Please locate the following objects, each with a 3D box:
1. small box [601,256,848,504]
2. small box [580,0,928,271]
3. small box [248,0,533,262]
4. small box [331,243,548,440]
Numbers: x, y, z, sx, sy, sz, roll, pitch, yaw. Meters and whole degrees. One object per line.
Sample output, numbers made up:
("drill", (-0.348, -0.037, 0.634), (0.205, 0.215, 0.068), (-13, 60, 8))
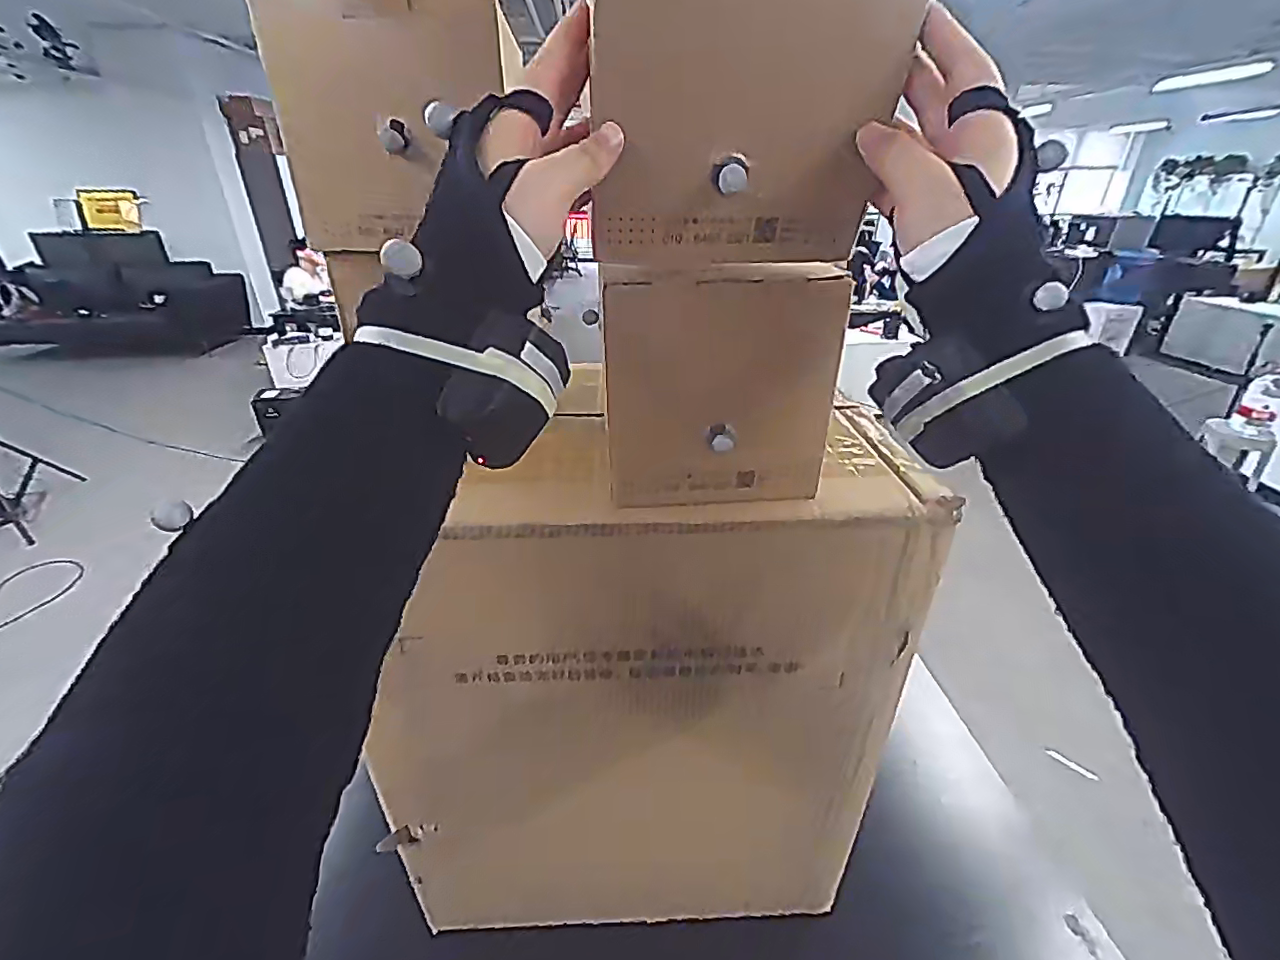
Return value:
("small box", (0.051, -0.095, 0.461), (0.168, 0.176, 0.179), (-3, 30, -4))
("small box", (0.046, -0.250, 0.346), (0.168, 0.176, 0.179), (-4, 45, -6))
("small box", (-0.188, -0.289, 0.476), (0.168, 0.176, 0.179), (-2, 28, -5))
("small box", (-0.188, -0.151, 0.566), (0.168, 0.176, 0.179), (-3, 29, -6))
